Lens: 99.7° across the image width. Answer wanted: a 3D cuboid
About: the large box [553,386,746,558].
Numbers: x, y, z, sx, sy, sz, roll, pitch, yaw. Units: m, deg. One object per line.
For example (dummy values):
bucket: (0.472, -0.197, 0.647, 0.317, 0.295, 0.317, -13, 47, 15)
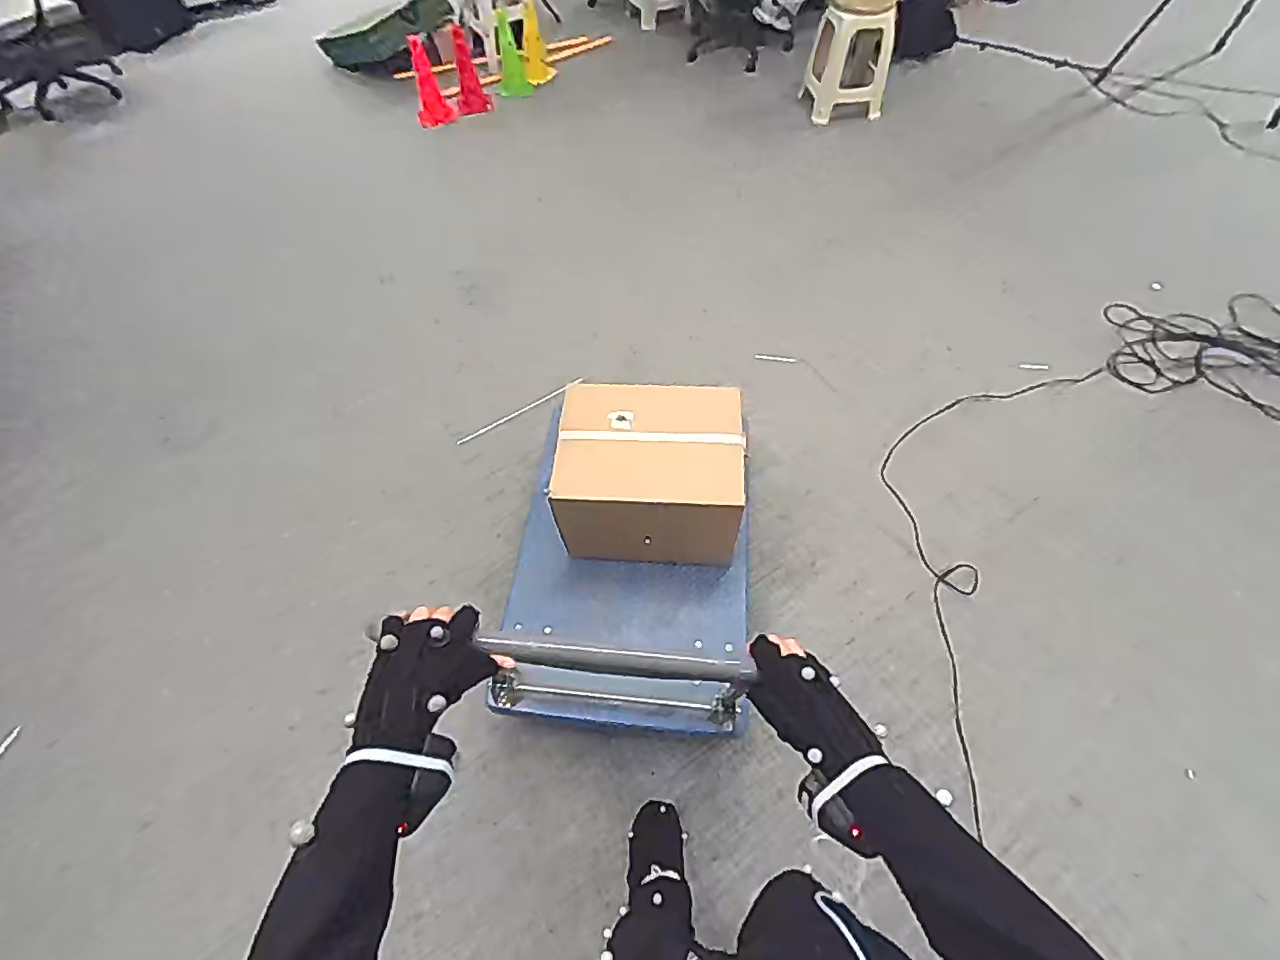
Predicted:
large box: (0.032, -0.008, 1.308, 0.408, 0.320, 0.320, 0, 58, 4)
